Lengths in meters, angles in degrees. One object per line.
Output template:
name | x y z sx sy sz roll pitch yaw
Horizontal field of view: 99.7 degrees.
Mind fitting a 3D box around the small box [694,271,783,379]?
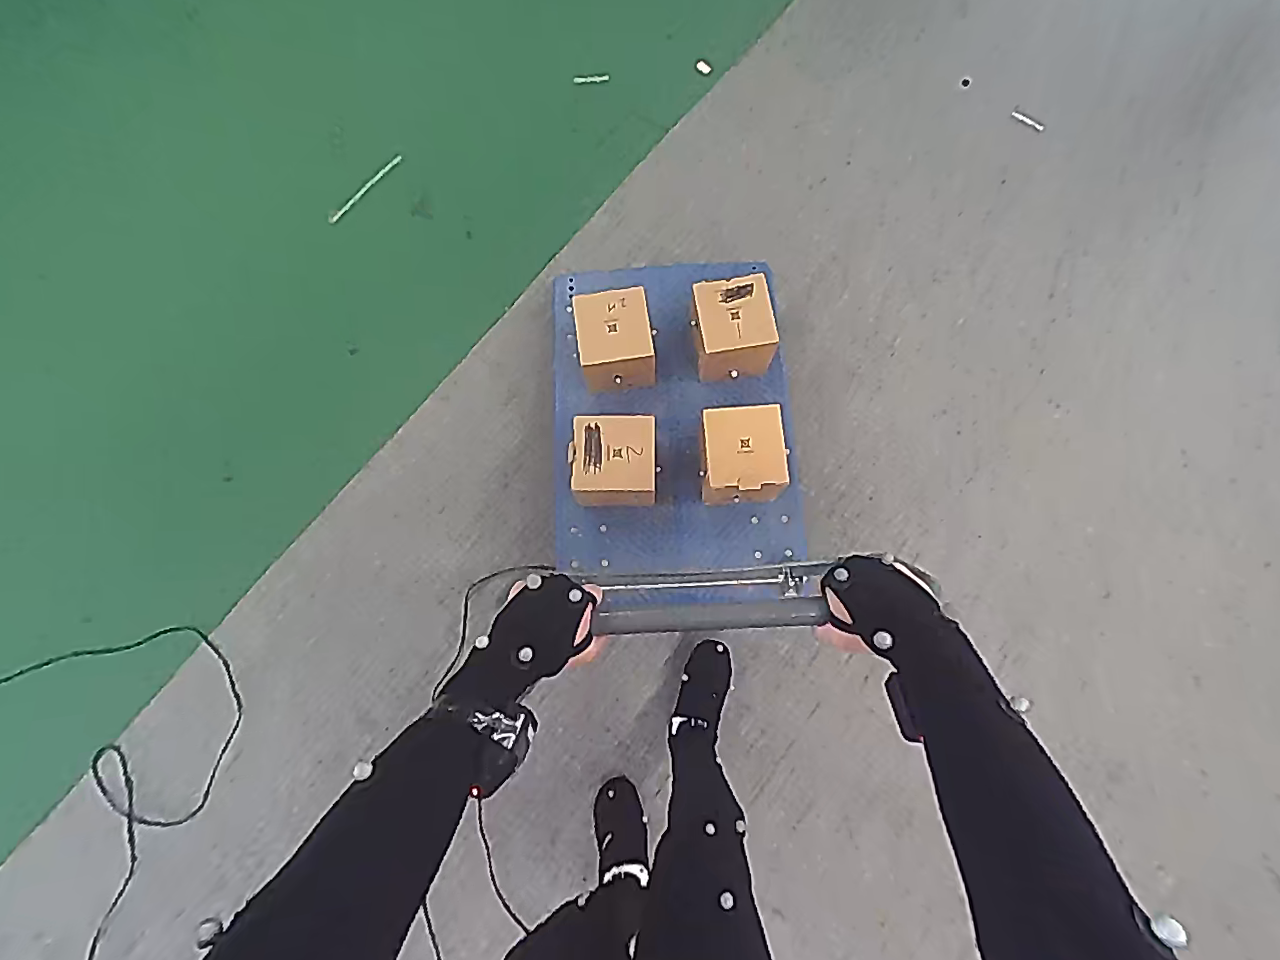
small box | 0.222 -0.359 1.271 0.168 0.176 0.179 -8 78 0

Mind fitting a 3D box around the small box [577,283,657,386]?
small box | -0.050 -0.333 1.273 0.168 0.176 0.179 -7 77 -1

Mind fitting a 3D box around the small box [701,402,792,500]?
small box | 0.229 -0.060 1.203 0.168 0.176 0.179 -3 77 1
